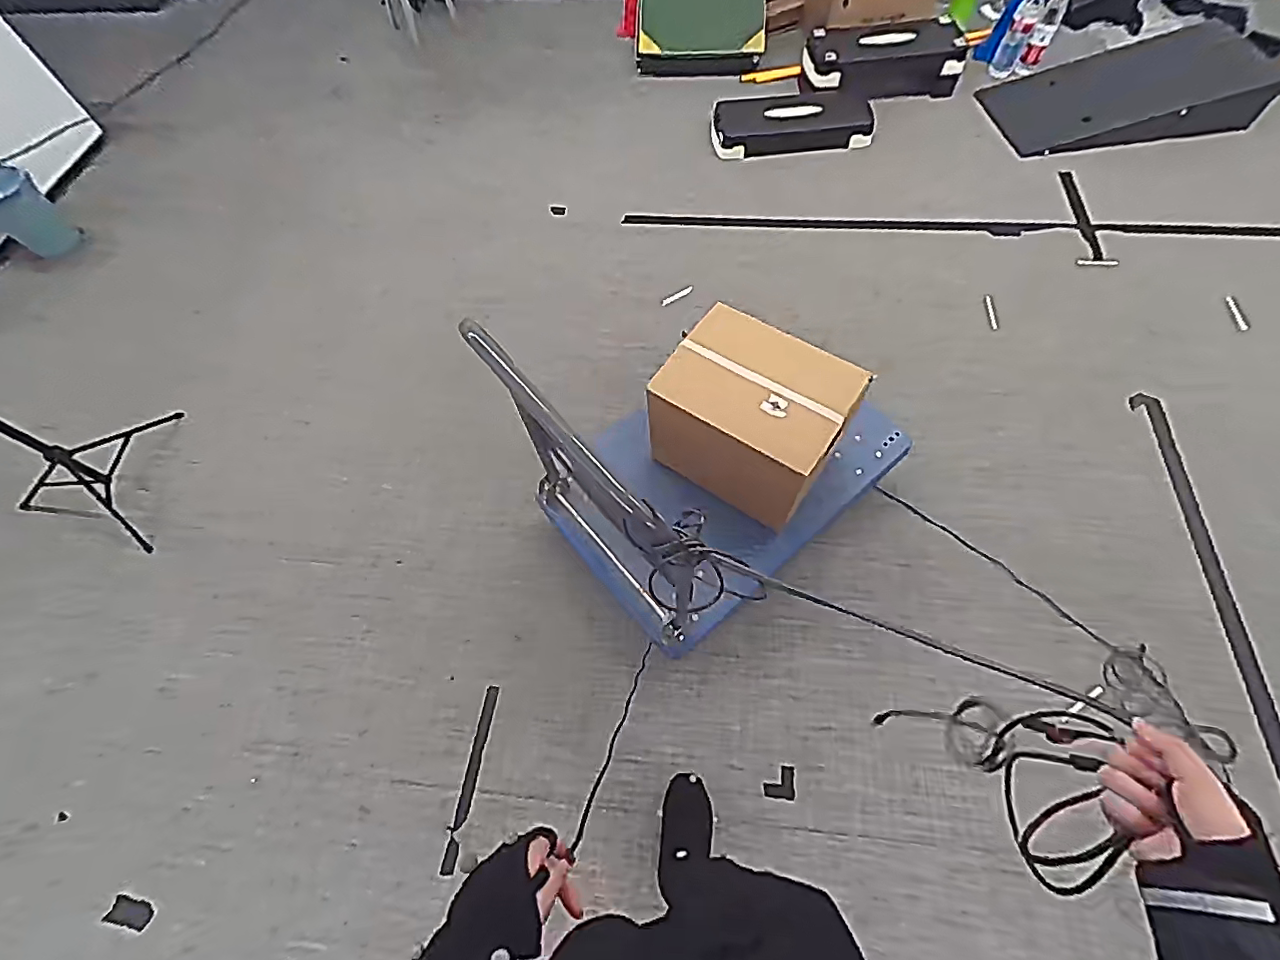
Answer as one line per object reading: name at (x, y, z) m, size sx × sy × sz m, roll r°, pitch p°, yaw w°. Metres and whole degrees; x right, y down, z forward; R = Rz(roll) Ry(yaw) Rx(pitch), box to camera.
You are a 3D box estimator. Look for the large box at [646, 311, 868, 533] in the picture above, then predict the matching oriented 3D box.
large box at (0.262, -0.138, 1.326) m, size 0.408 × 0.320 × 0.320 m, roll 31°, pitch 69°, yaw 17°
